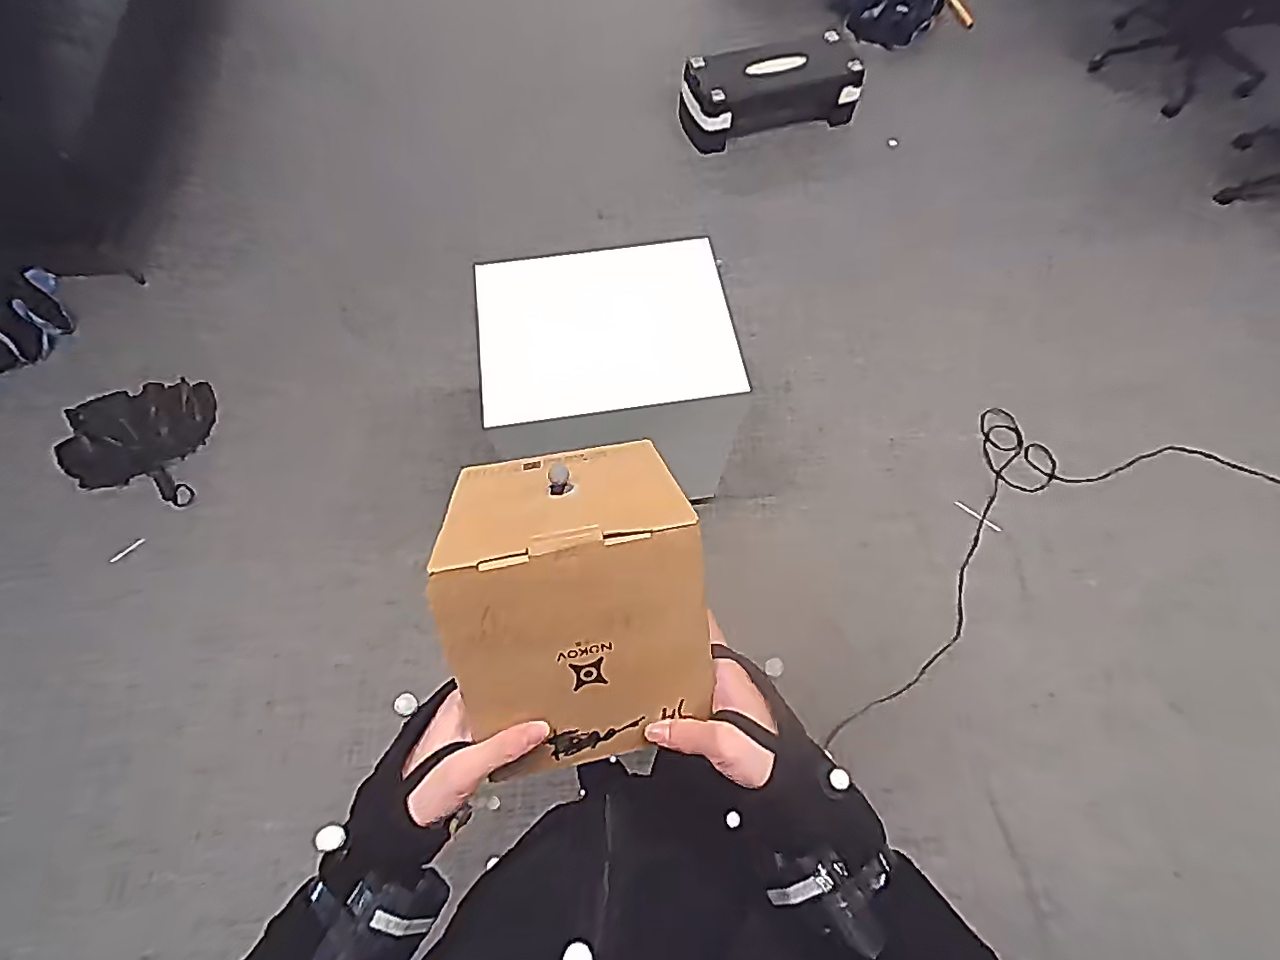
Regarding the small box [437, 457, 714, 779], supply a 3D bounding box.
[{"bbox_3d":[-0.047,0.090,0.431,0.168,0.179,0.176,-9,23,-6],"label":"small box"}]
